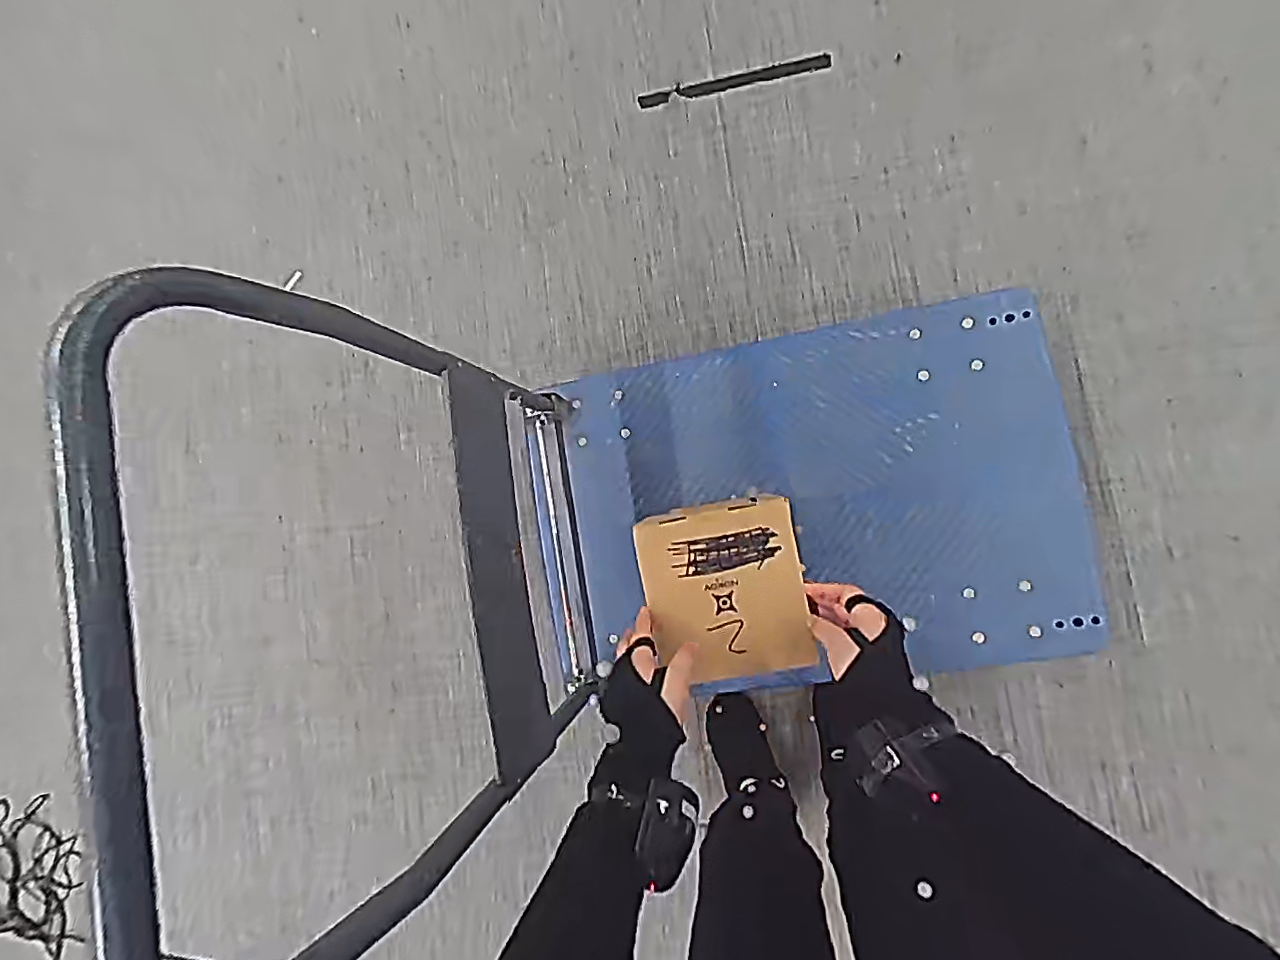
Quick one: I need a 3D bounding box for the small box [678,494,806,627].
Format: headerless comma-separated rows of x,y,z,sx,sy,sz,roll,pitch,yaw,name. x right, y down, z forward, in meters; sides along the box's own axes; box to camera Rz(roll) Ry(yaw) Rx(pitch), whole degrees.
0.153,0.117,0.827,0.168,0.176,0.179,-6,86,11,small box
